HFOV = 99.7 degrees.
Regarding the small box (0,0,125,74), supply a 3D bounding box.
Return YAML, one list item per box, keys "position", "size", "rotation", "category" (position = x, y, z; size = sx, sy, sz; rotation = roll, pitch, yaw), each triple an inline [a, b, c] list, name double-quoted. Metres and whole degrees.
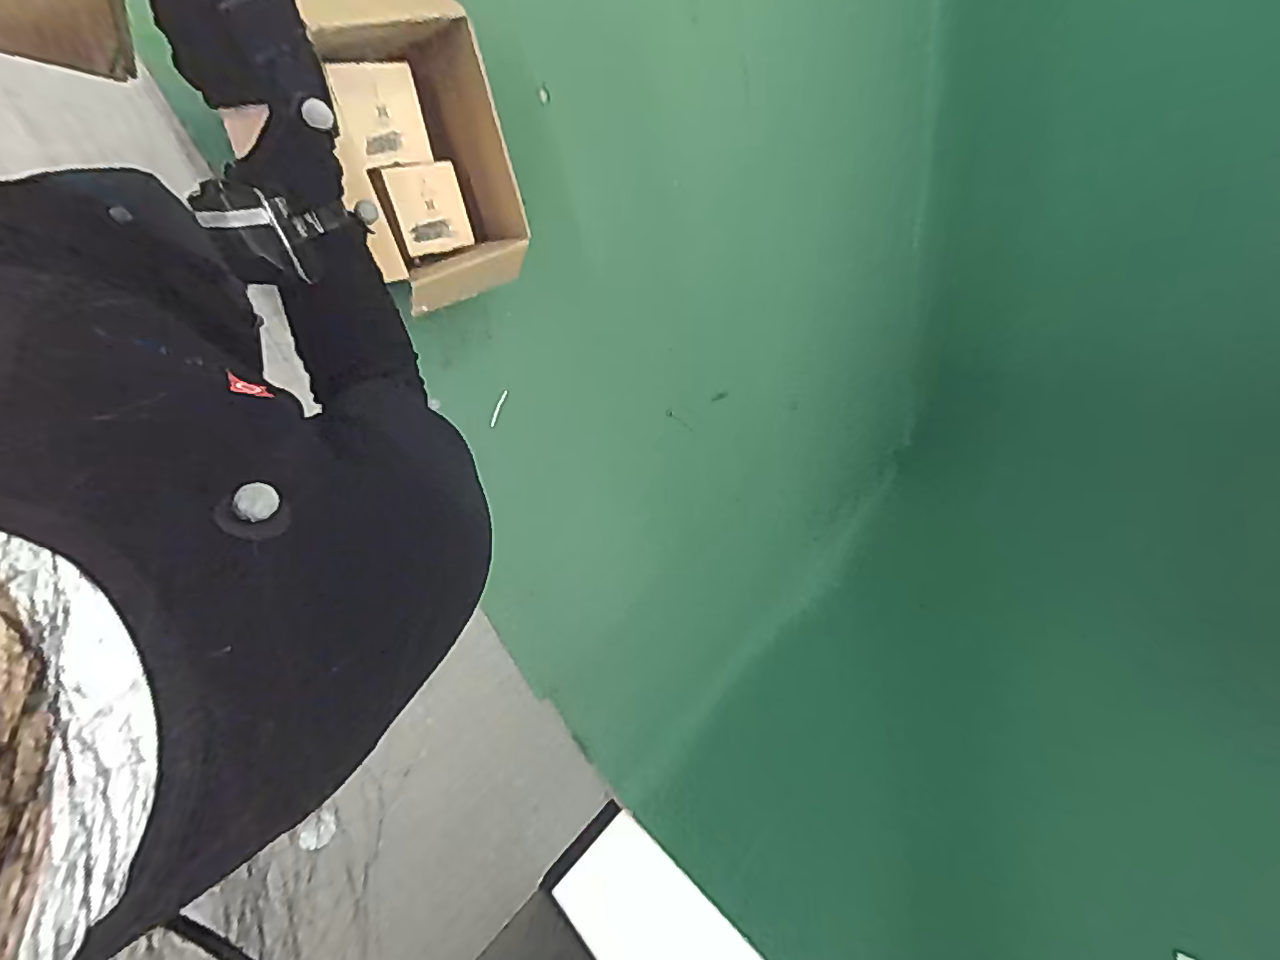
- position: [-0.341, -0.324, 0.218]
  size: [0.168, 0.176, 0.179]
  rotation: [-9, 97, -37]
  category: "small box"
